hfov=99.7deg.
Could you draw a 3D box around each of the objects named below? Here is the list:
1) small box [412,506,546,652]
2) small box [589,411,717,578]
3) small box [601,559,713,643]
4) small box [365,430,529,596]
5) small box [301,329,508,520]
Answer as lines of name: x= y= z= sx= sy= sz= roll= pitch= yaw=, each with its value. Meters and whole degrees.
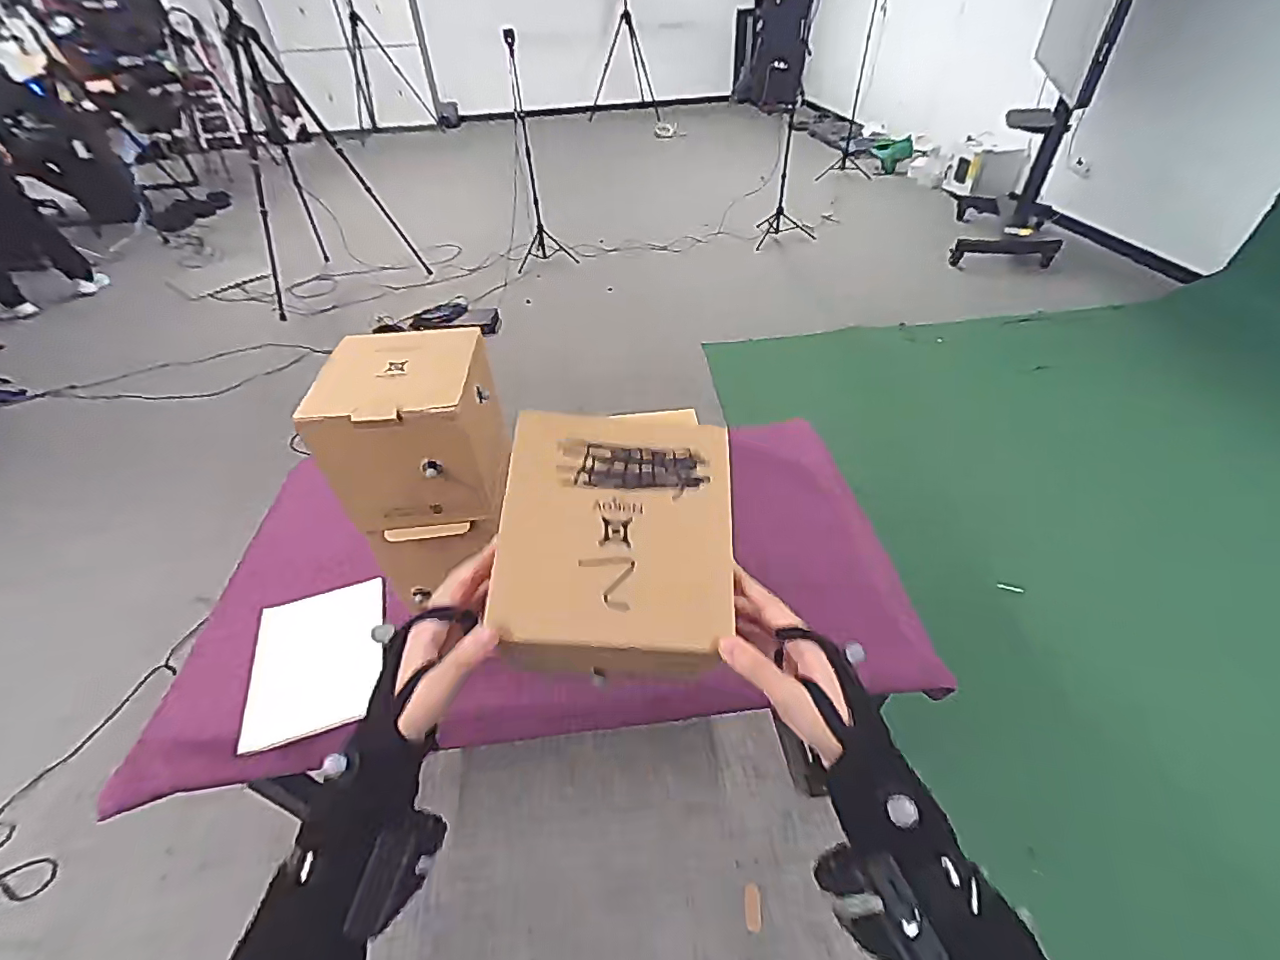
small box: x=-0.252 y=0.169 z=0.892 sx=0.168 sy=0.176 sz=0.179 roll=-5 pitch=44 yaw=-2
small box: x=0.012 y=0.020 z=0.794 sx=0.168 sy=0.176 sz=0.179 roll=-5 pitch=42 yaw=-2
small box: x=0.022 y=0.145 z=0.899 sx=0.168 sy=0.176 sz=0.179 roll=-6 pitch=42 yaw=-1
small box: x=-0.258 y=0.052 z=0.775 sx=0.168 sy=0.176 sz=0.179 roll=-5 pitch=42 yaw=-2
small box: x=-0.264 y=-0.064 z=0.661 sx=0.168 sy=0.176 sz=0.179 roll=-4 pitch=42 yaw=-2
